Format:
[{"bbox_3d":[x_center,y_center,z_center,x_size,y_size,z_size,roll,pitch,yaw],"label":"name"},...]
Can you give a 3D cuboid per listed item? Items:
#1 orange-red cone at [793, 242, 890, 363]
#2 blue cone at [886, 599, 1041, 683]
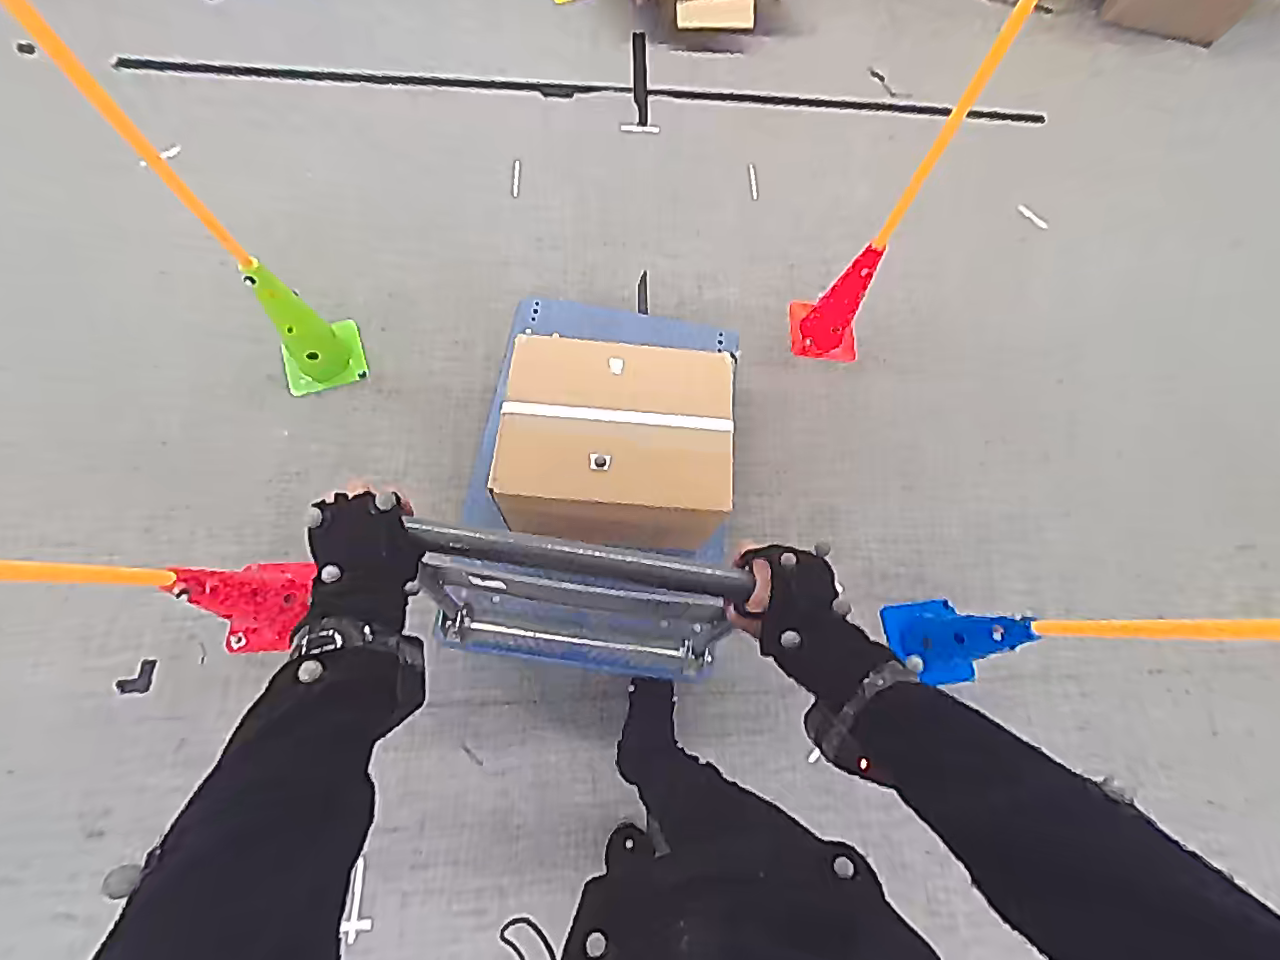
[{"bbox_3d":[0.583,-0.510,1.490,0.199,0.360,0.198,7,69,-4],"label":"orange-red cone"},{"bbox_3d":[0.734,0.339,1.196,0.193,0.380,0.192,-3,68,-7],"label":"blue cone"}]
